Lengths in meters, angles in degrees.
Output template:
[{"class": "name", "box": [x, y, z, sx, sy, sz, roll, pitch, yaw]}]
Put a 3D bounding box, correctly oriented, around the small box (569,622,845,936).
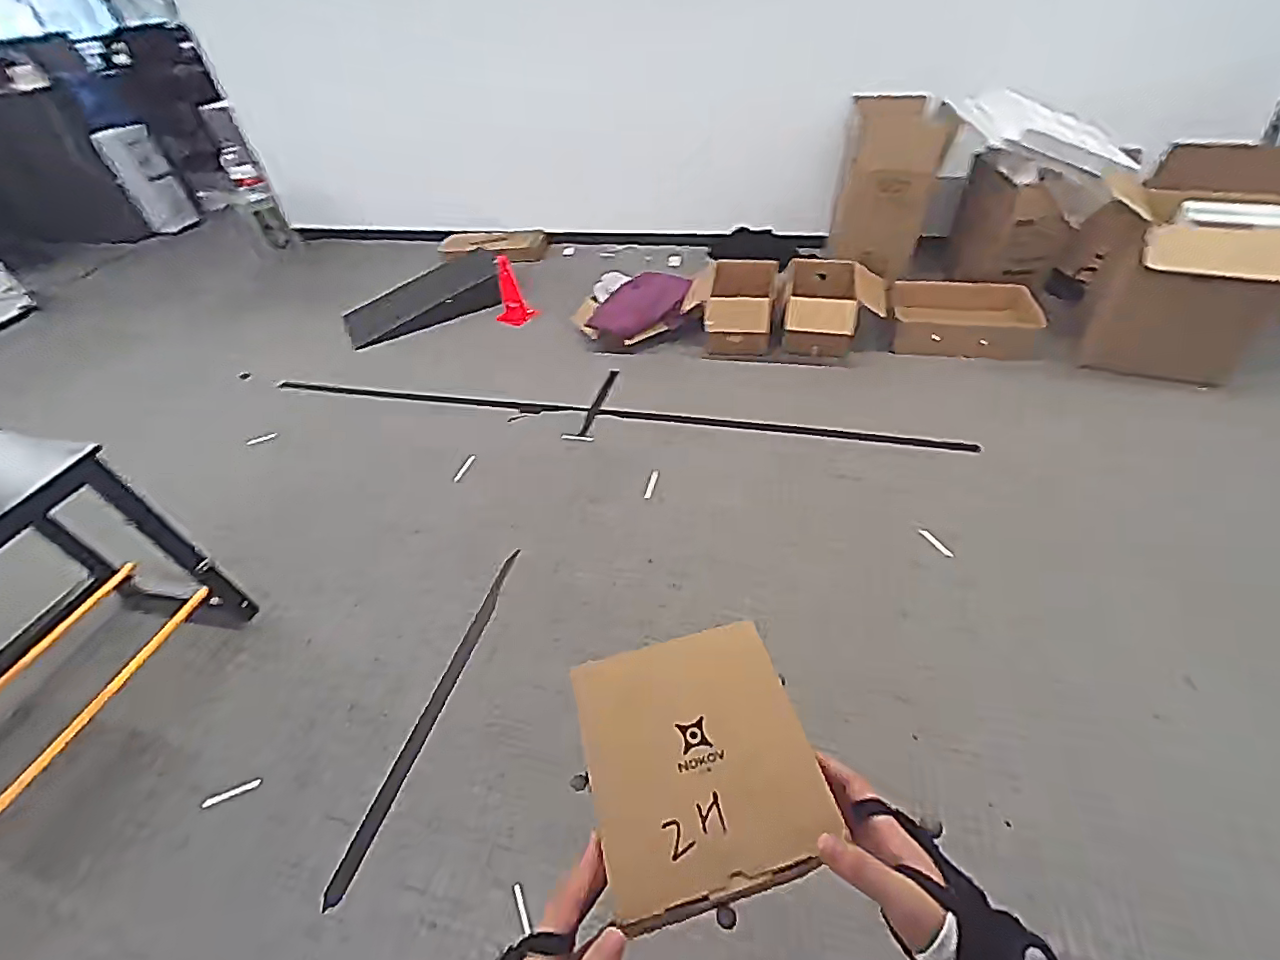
[{"class": "small box", "box": [0.040, 0.254, 0.464, 0.168, 0.176, 0.179, -12, 49, -9]}]
